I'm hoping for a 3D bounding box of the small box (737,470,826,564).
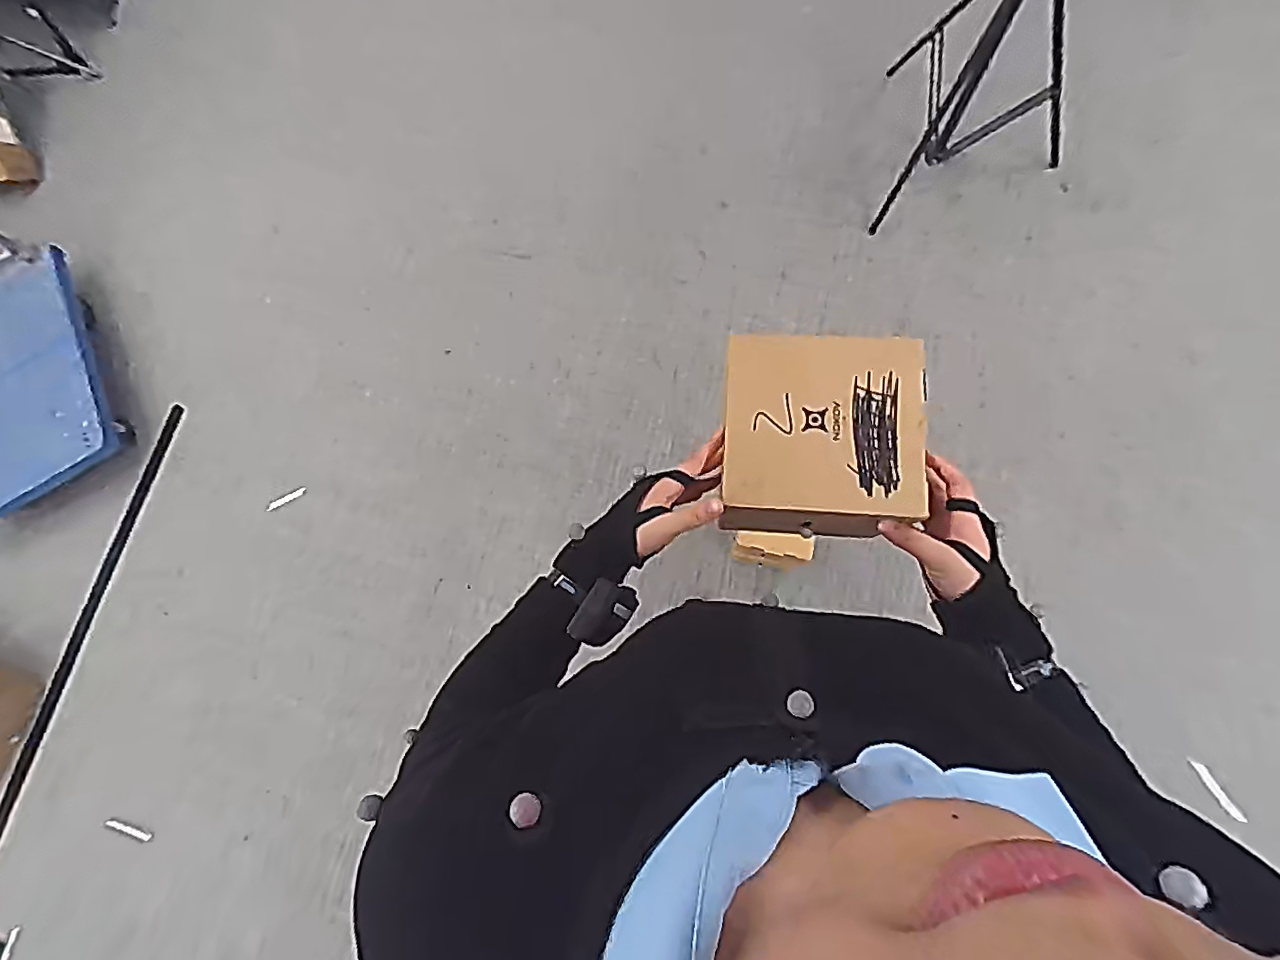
[{"bbox_3d":[0.326,0.093,1.278,0.168,0.176,0.179,12,80,10],"label":"small box"}]

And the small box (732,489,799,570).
[{"bbox_3d":[0.341,0.136,1.435,0.168,0.176,0.179,10,78,9],"label":"small box"}]
